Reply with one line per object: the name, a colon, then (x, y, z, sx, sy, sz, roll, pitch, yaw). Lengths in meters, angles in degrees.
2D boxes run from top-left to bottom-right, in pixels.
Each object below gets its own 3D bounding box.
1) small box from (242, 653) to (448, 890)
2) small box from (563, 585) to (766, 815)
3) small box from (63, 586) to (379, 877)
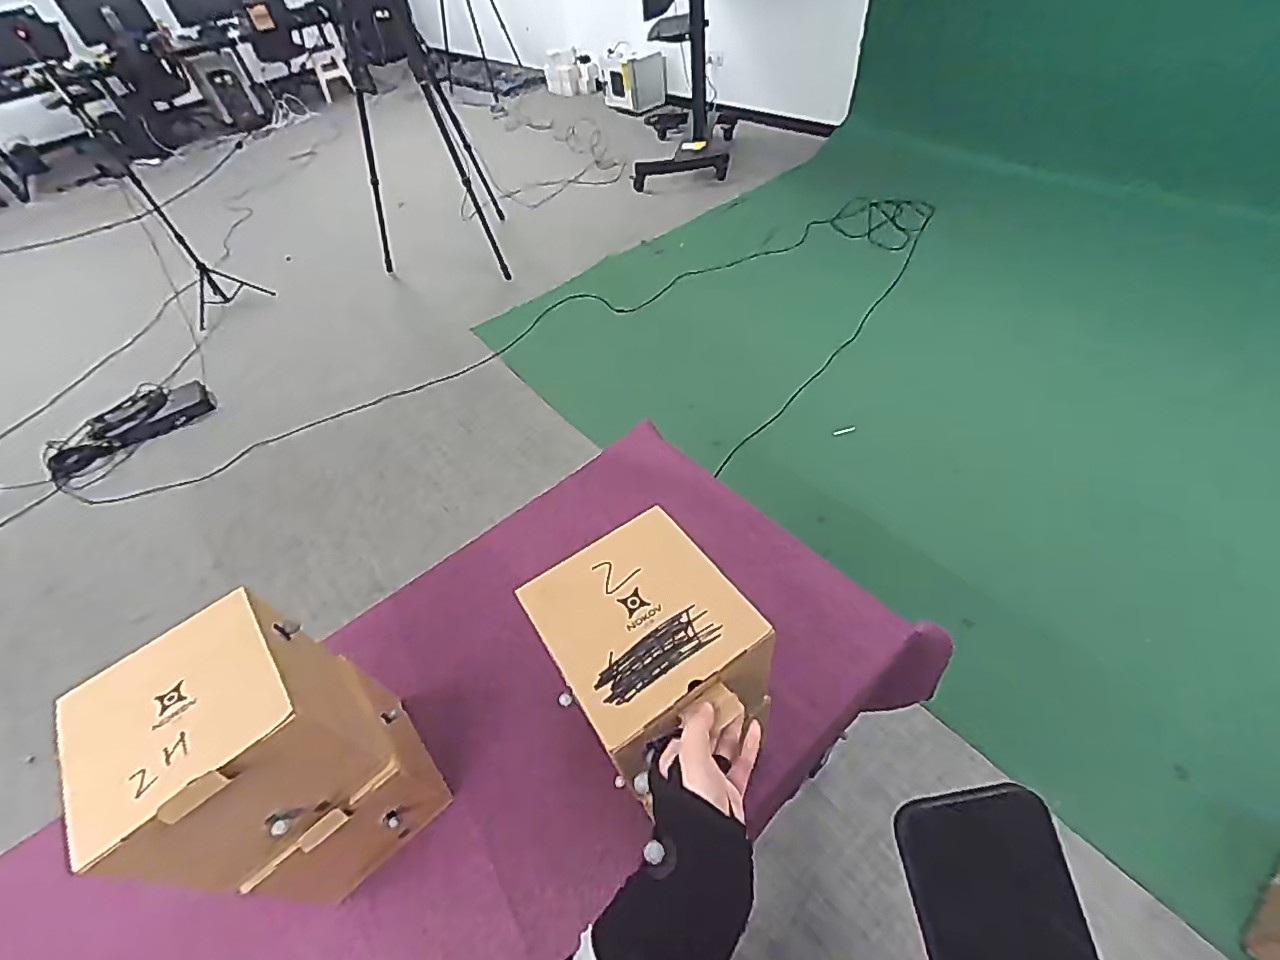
small box: (-0.363, 0.352, 0.653, 0.168, 0.176, 0.179, -36, 53, -21)
small box: (0.030, 0.270, 0.662, 0.168, 0.176, 0.179, -32, 53, -18)
small box: (-0.396, 0.246, 0.530, 0.168, 0.176, 0.179, -37, 54, -21)
